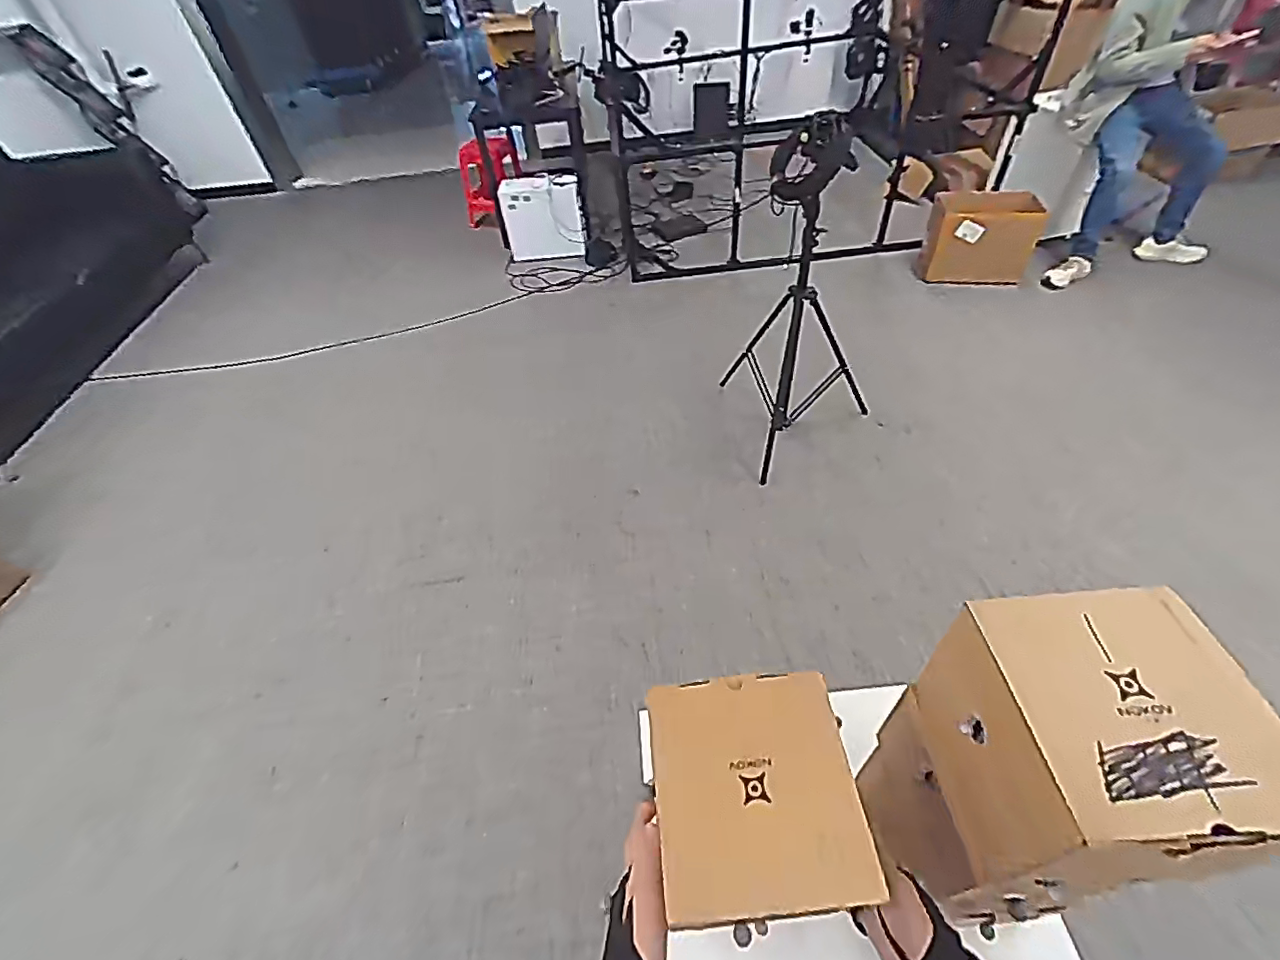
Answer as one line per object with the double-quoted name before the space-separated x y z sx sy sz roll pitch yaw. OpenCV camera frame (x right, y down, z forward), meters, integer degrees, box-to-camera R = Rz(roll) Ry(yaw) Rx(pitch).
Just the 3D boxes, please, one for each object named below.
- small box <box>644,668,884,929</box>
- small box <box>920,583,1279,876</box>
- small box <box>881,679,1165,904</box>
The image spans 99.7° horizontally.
"small box" 0.096 0.299 0.505 0.168 0.176 0.179 -6 49 -1
"small box" 0.360 0.209 0.443 0.168 0.176 0.179 -5 45 4
"small box" 0.374 0.320 0.565 0.168 0.176 0.179 -7 47 3
